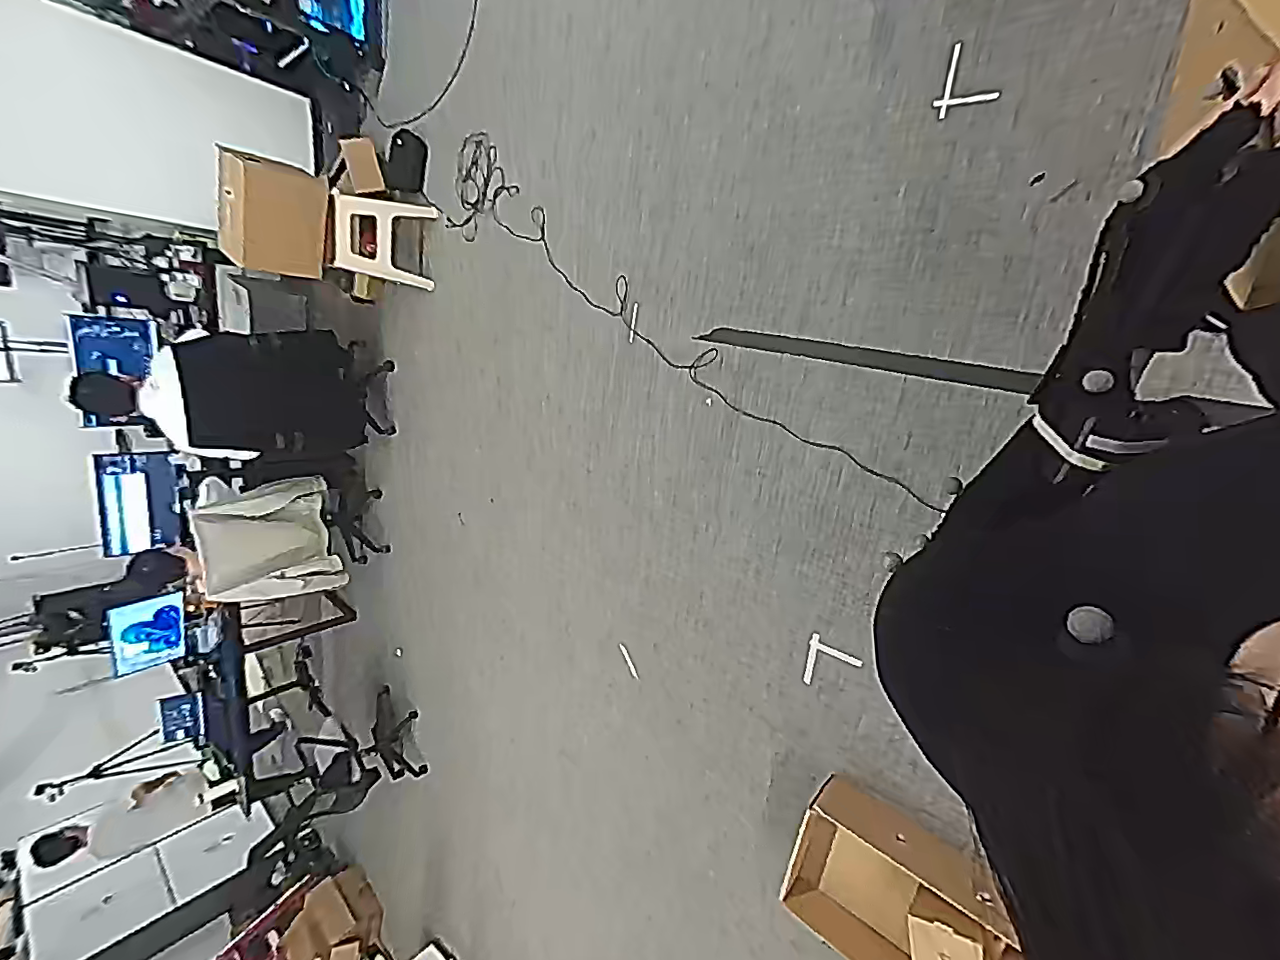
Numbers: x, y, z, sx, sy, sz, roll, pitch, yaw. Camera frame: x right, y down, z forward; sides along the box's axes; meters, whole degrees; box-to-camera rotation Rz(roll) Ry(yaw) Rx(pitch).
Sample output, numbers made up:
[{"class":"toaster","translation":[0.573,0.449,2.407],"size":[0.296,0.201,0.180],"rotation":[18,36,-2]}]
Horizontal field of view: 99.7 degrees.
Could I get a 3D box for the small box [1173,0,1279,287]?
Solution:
[{"class":"small box","translation":[0.472,-0.254,0.328],"size":[0.168,0.176,0.179],"rotation":[-15,58,31]}]
